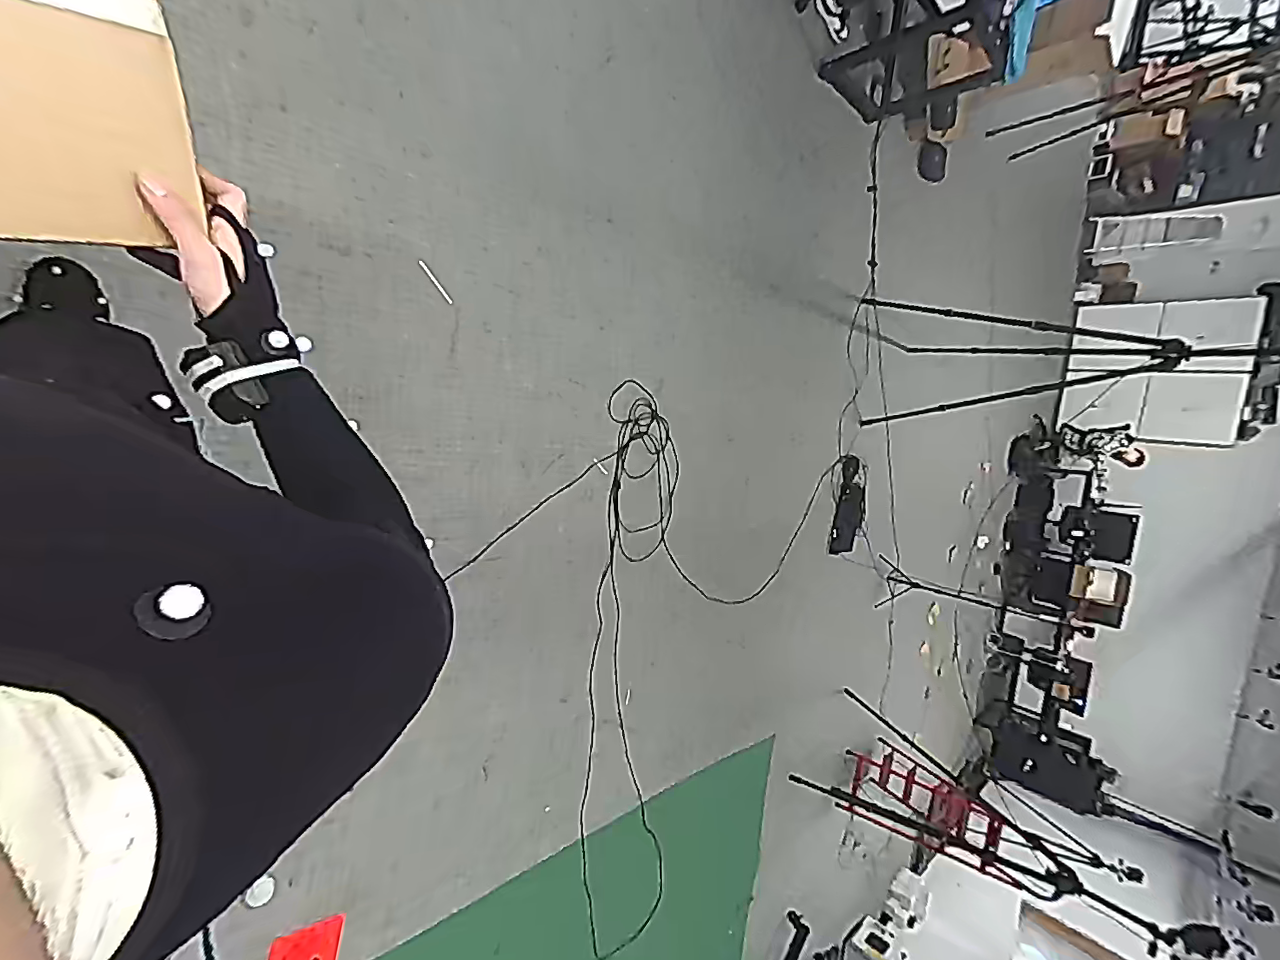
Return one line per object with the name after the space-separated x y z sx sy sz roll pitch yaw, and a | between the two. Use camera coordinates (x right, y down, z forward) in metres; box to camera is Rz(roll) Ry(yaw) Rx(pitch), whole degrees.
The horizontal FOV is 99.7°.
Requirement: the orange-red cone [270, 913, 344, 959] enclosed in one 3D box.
-0.898 1.466 1.520 0.199 0.360 0.198 11 92 -46 | orange-red cone
